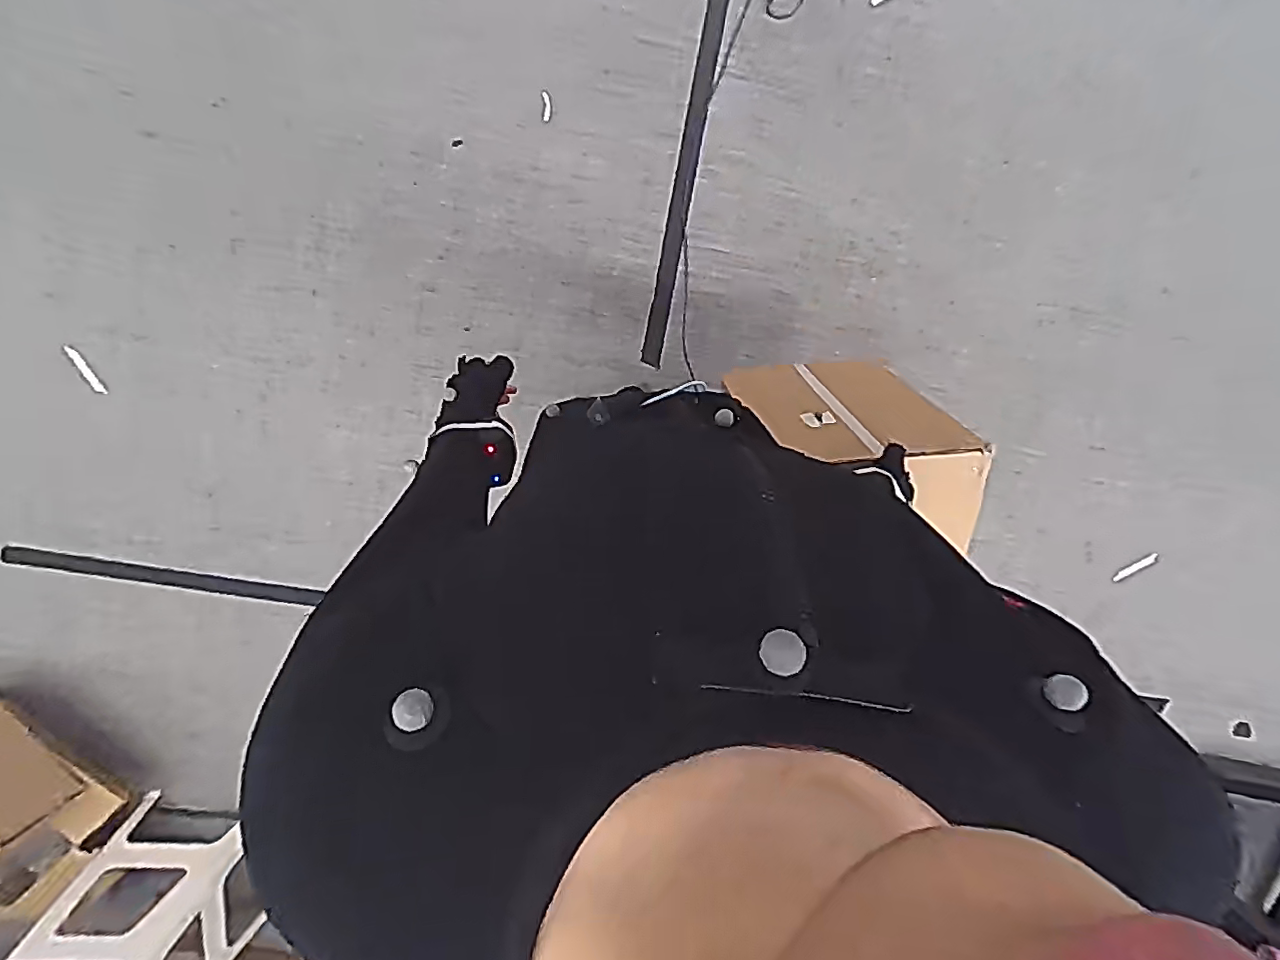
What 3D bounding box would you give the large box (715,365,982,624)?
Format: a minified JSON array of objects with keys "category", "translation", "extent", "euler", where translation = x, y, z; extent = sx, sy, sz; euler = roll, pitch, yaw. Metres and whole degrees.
[{"category":"large box","translation":[0.326,0.004,1.000],"extent":[0.320,0.408,0.320],"euler":[-4,121,0]}]
